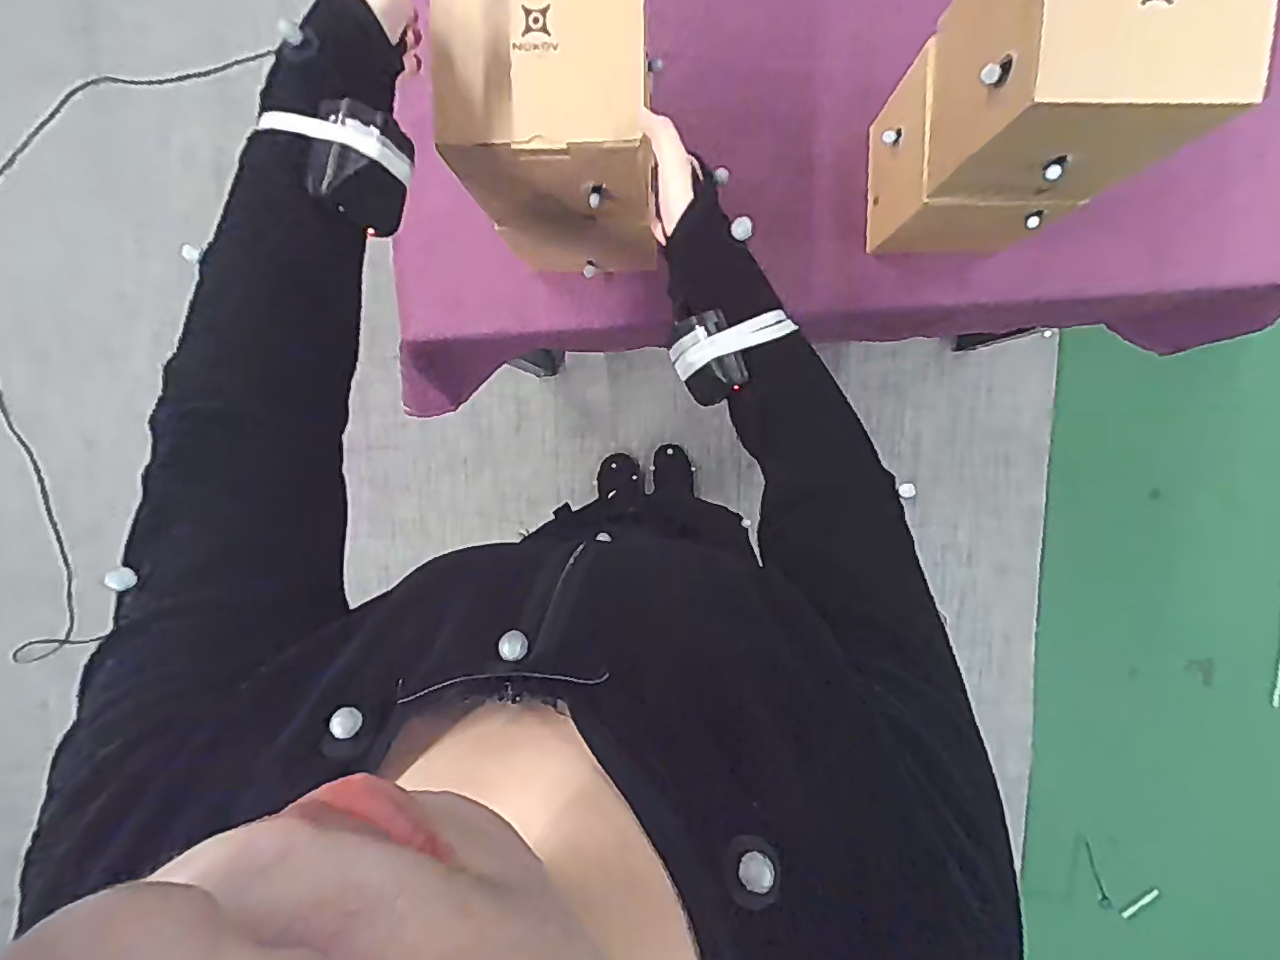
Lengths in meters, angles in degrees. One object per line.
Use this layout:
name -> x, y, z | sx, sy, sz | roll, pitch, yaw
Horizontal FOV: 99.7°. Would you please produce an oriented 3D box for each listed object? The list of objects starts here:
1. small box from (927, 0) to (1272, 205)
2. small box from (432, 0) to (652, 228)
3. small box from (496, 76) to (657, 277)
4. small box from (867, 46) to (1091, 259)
small box -> 0.375, -0.361, 0.471 | 0.168, 0.176, 0.179 | 3, 95, 2
small box -> -0.075, -0.347, 0.495 | 0.168, 0.176, 0.179 | 1, 95, 2
small box -> -0.068, -0.355, 0.658 | 0.179, 0.176, 0.168 | 0, 94, 2
small box -> 0.383, -0.369, 0.636 | 0.179, 0.176, 0.168 | 0, 95, 2
